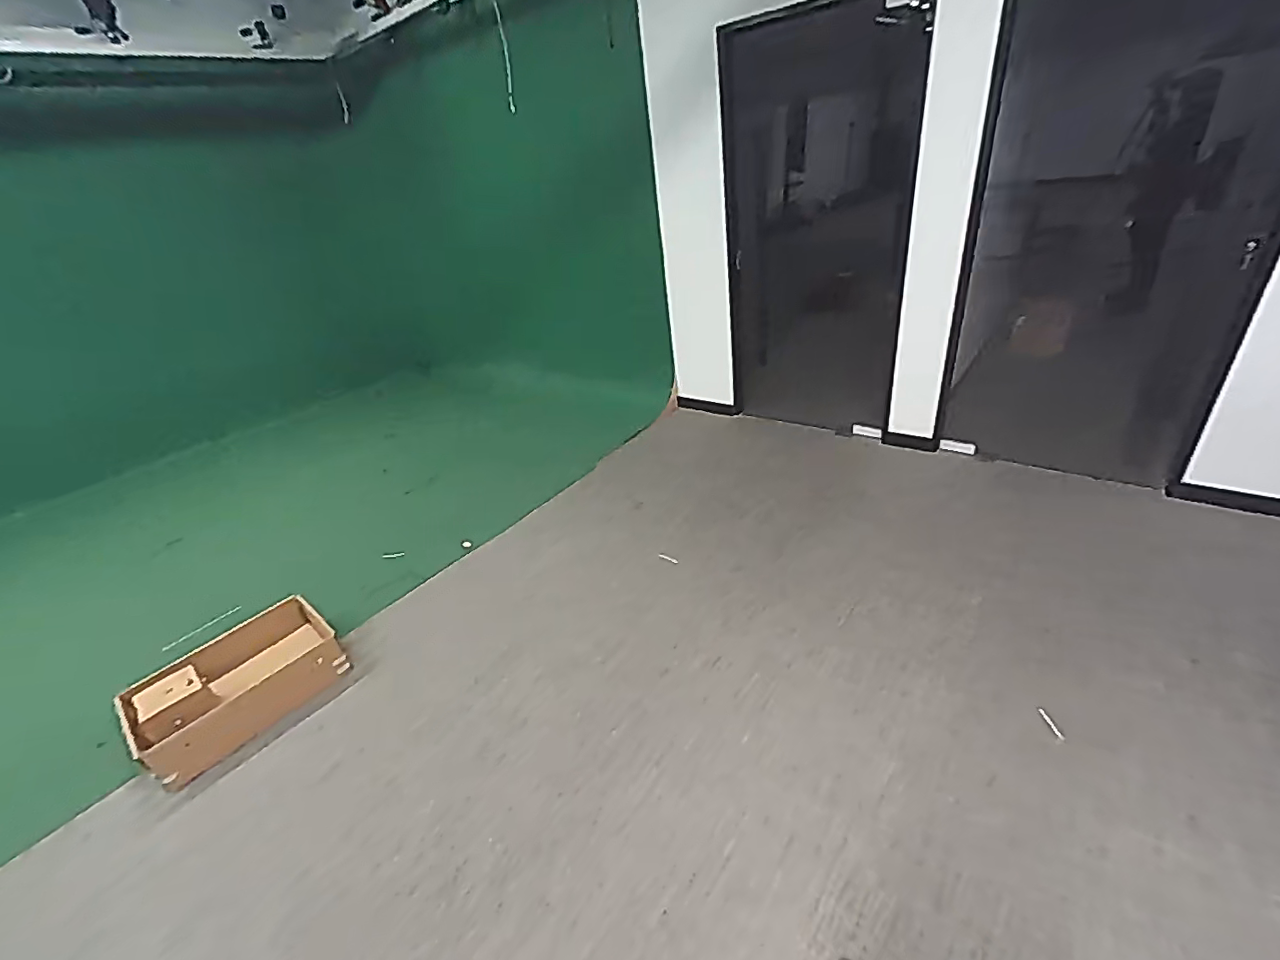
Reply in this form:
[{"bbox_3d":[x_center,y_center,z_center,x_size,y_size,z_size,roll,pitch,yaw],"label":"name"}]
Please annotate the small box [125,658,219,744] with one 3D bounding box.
[{"bbox_3d":[-1.591,0.754,1.843,0.168,0.176,0.179,21,41,37],"label":"small box"}]
